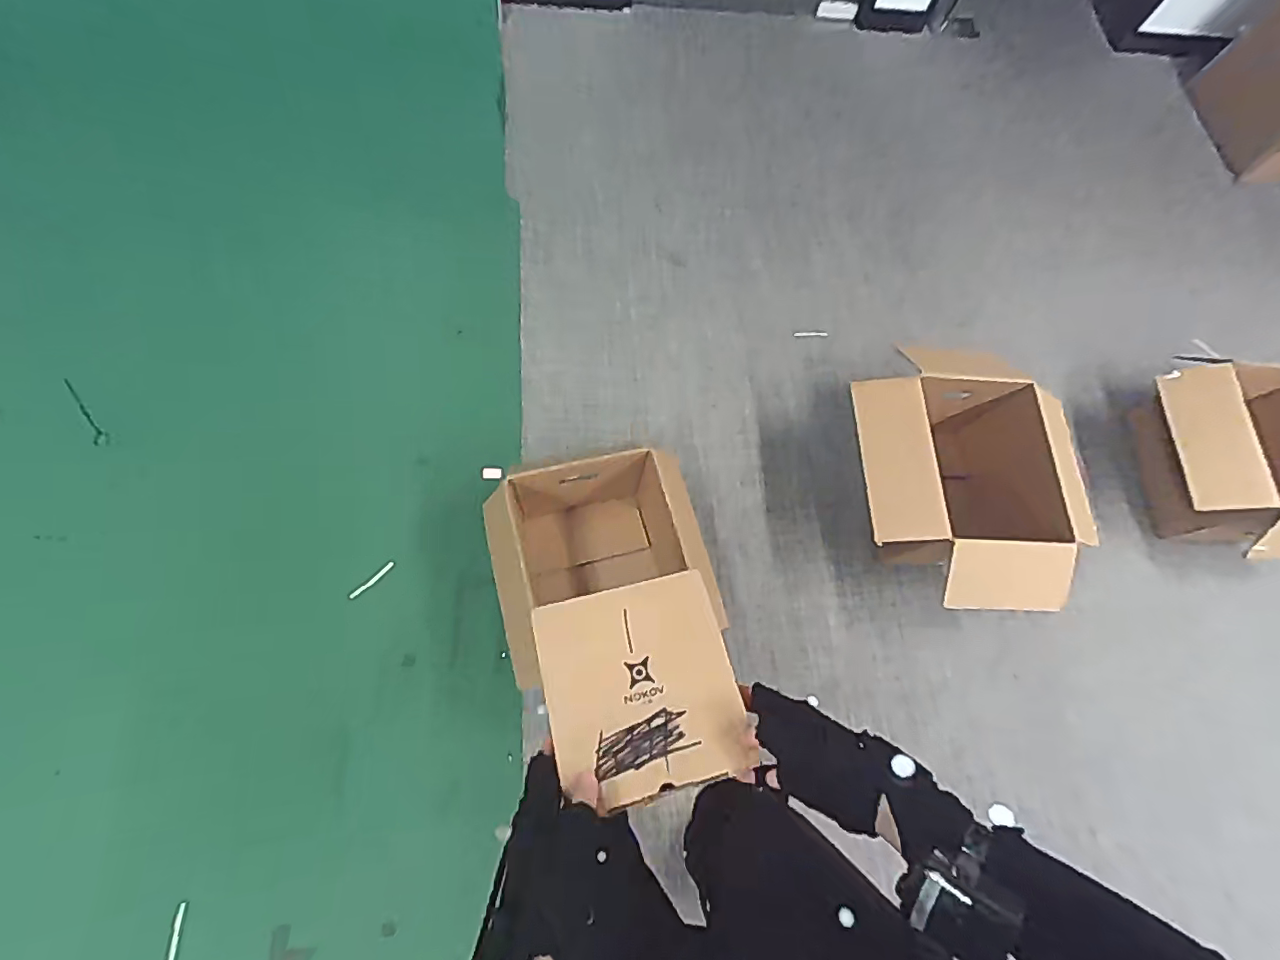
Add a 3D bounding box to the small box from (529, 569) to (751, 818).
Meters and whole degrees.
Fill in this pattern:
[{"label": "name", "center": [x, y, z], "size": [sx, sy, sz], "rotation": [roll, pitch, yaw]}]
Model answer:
[{"label": "small box", "center": [-0.007, 0.210, 0.543], "size": [0.168, 0.176, 0.179], "rotation": [-11, 64, -9]}]
